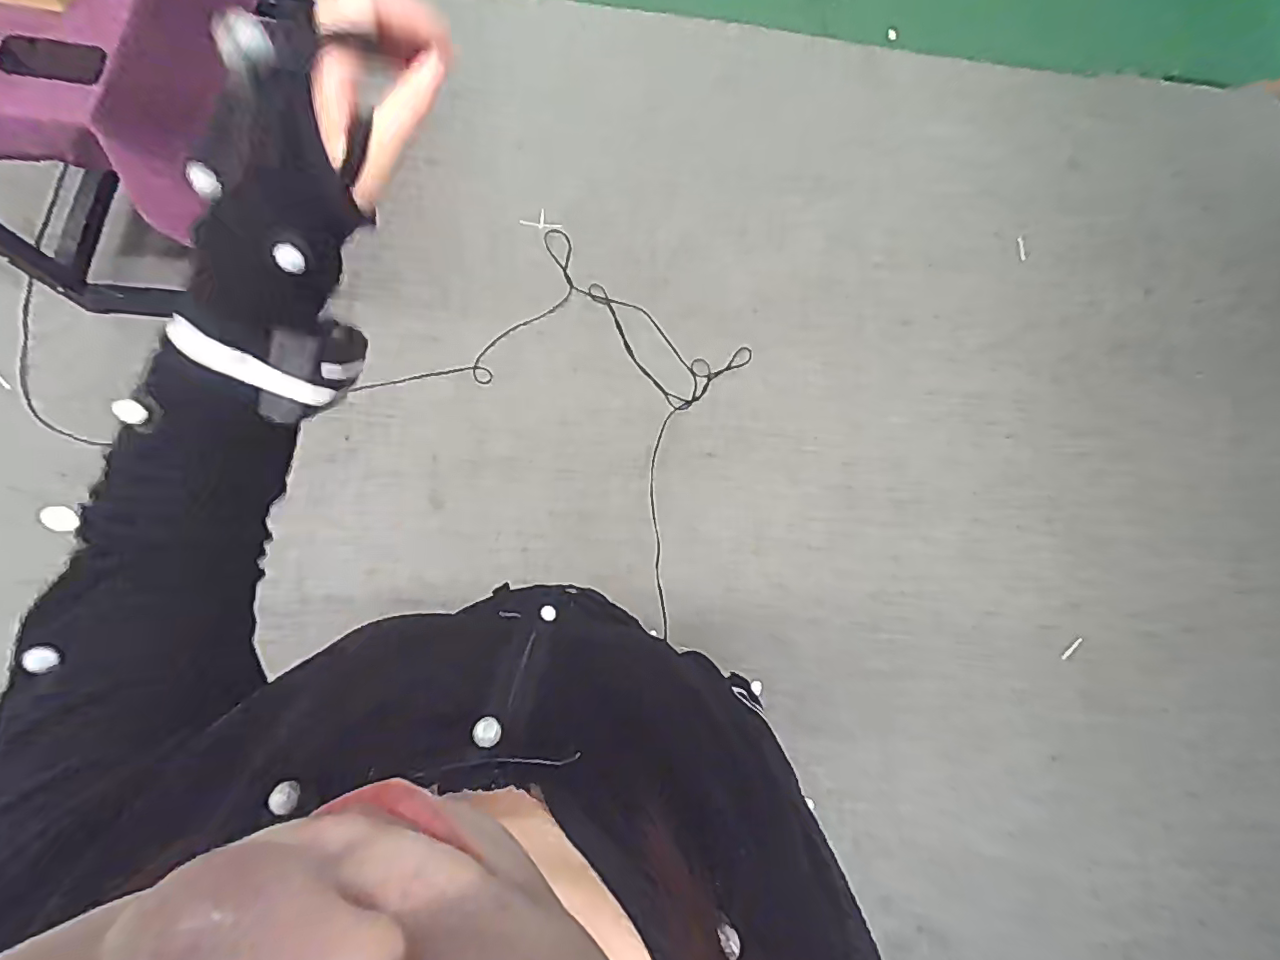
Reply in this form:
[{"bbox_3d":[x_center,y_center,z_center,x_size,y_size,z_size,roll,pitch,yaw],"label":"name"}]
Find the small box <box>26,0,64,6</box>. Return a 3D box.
[{"bbox_3d":[-1.063,-0.926,0.877,0.168,0.176,0.179,5,75,-5],"label":"small box"}]
